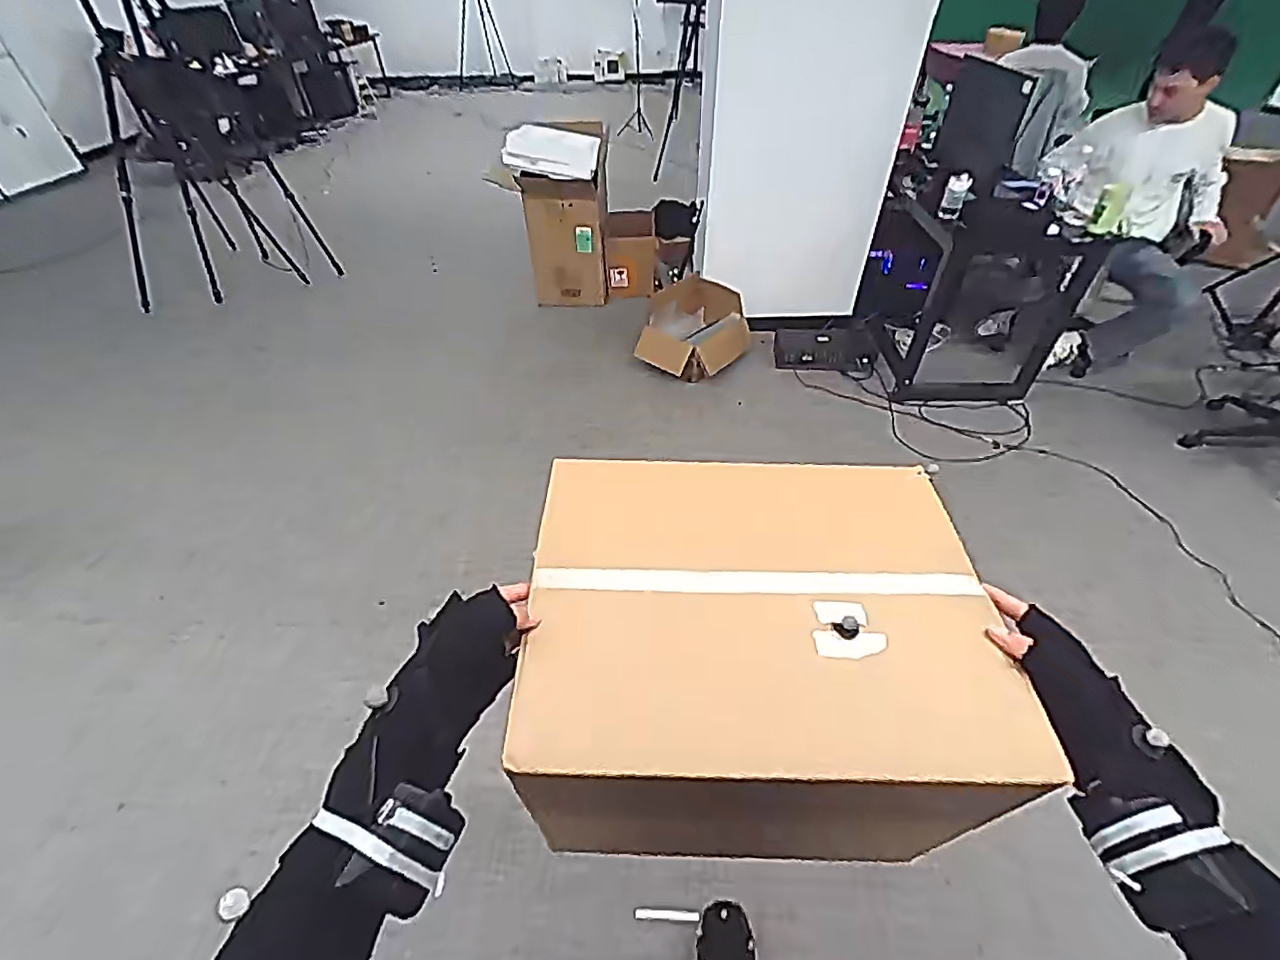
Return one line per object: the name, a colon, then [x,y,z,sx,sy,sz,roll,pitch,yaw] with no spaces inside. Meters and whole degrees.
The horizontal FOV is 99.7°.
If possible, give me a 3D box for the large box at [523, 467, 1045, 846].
large box: [0.105,0.200,0.611,0.408,0.320,0.320,1,47,0]
